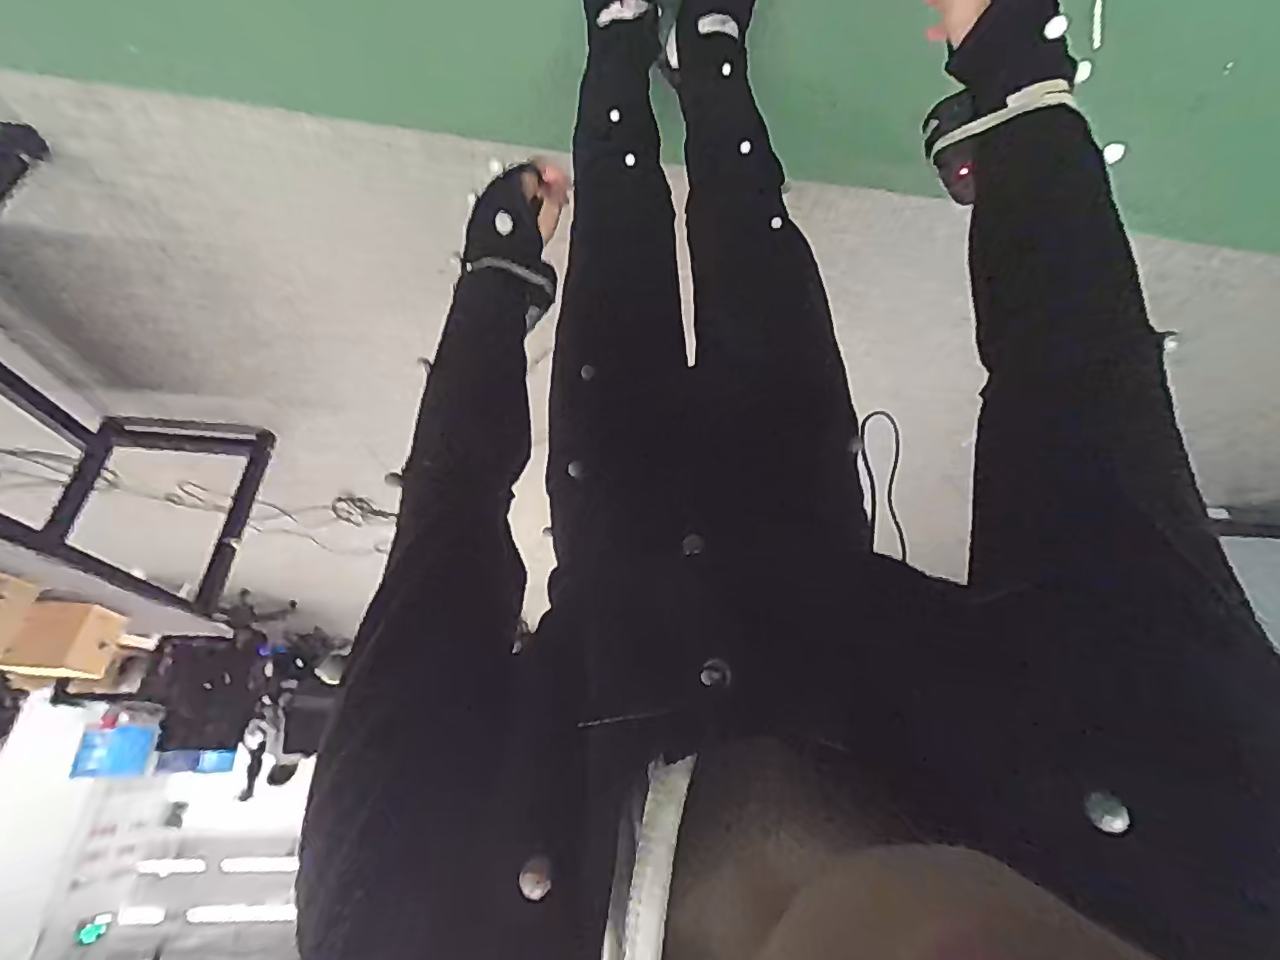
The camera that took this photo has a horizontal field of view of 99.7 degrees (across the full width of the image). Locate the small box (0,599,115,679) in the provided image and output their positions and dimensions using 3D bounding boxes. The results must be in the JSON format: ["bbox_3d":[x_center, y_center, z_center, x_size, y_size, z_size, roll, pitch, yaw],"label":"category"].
[{"bbox_3d":[-1.523,0.413,1.398,0.179,0.176,0.168,9,151,-12],"label":"small box"}]

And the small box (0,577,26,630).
[{"bbox_3d":[-1.483,0.274,1.132,0.179,0.176,0.168,5,152,-8],"label":"small box"}]
